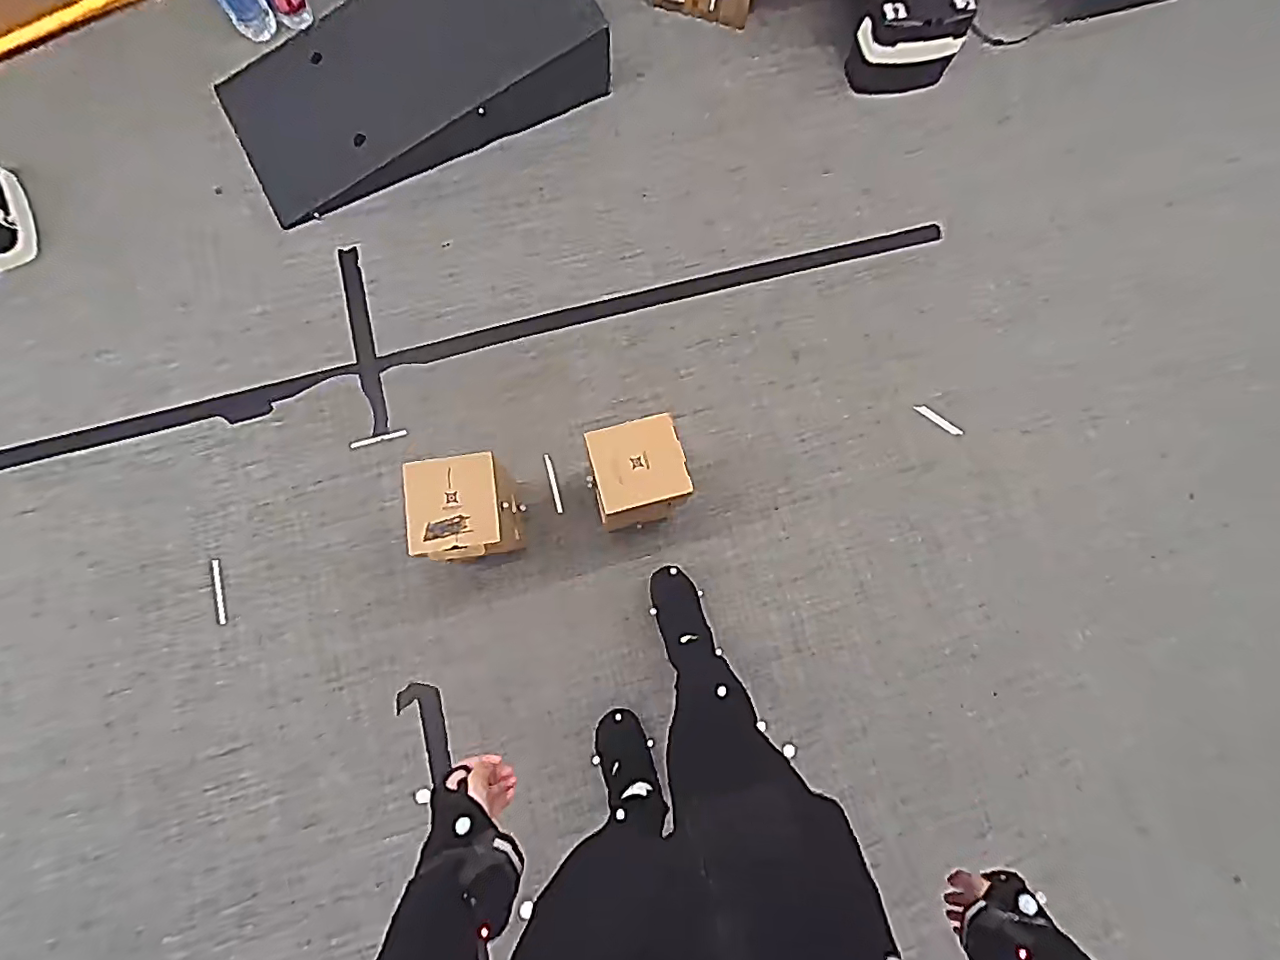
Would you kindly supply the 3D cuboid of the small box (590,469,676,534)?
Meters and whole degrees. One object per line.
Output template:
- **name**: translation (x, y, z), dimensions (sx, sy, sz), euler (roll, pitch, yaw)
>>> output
- **small box**: translation (-0.022, 0.017, 1.253), dimensions (0.168, 0.176, 0.179), euler (-12, 80, -5)

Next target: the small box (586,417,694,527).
- **small box**: translation (-0.005, -0.011, 1.093), dimensions (0.179, 0.176, 0.168), euler (-14, 79, -5)

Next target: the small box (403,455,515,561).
- **small box**: translation (-0.347, 0.063, 1.058), dimensions (0.168, 0.176, 0.179), euler (-8, 79, -5)

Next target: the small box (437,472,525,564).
- **small box**: translation (-0.361, 0.091, 1.221), dimensions (0.179, 0.176, 0.168), euler (-12, 79, -7)
